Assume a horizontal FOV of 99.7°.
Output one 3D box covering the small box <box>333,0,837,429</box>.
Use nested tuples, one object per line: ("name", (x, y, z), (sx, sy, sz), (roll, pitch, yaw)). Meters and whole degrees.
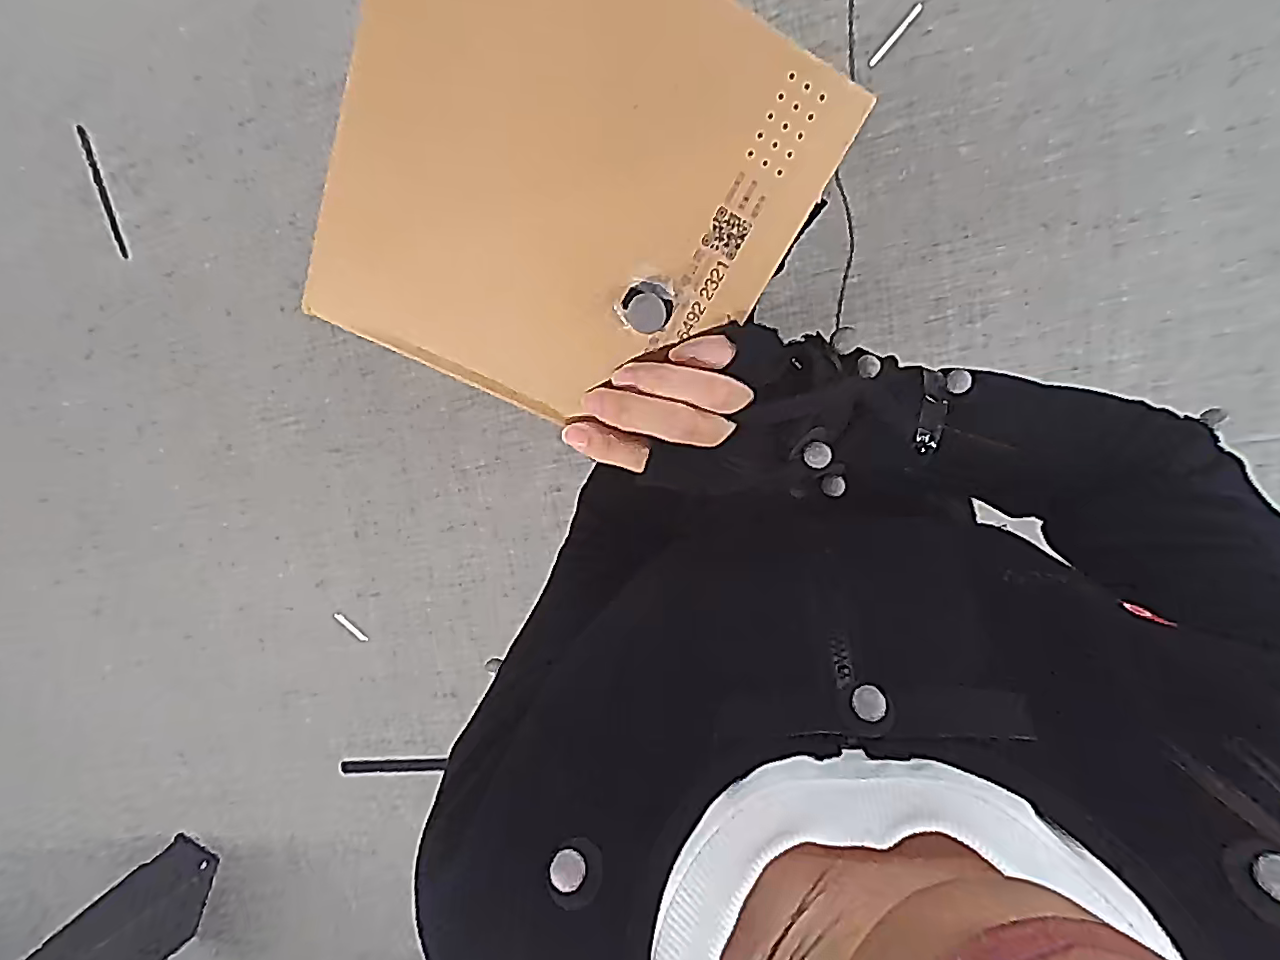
("small box", (-0.027, -0.152, 0.298), (0.176, 0.179, 0.168), (24, 117, -13))
